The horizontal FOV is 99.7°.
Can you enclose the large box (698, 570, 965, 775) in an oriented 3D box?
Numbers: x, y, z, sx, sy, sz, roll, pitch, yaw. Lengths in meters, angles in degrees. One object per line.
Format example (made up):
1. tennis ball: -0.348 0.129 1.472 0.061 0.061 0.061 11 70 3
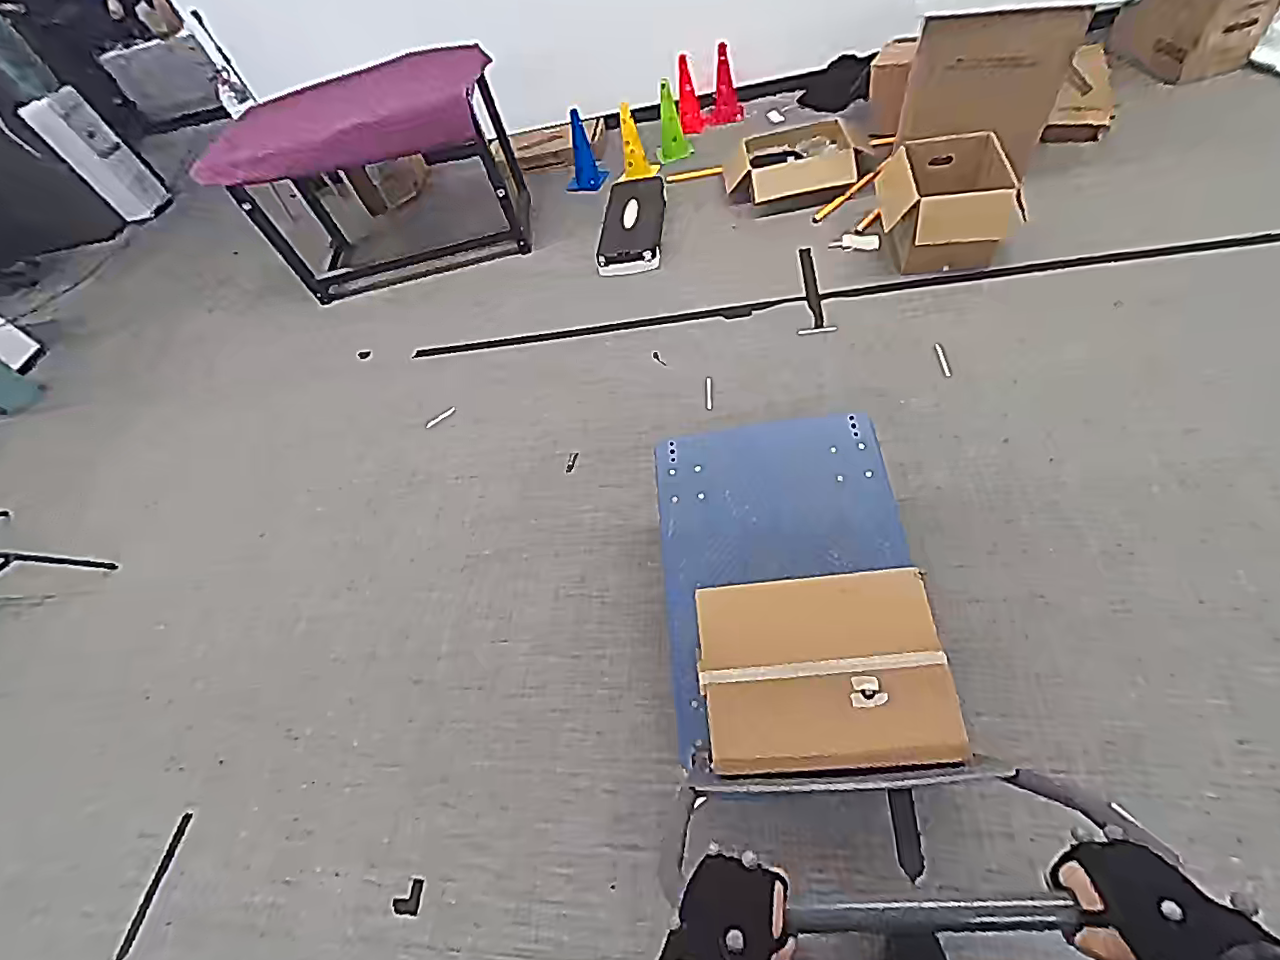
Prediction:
1. large box: 0.339 0.390 1.081 0.408 0.320 0.320 -7 66 7
